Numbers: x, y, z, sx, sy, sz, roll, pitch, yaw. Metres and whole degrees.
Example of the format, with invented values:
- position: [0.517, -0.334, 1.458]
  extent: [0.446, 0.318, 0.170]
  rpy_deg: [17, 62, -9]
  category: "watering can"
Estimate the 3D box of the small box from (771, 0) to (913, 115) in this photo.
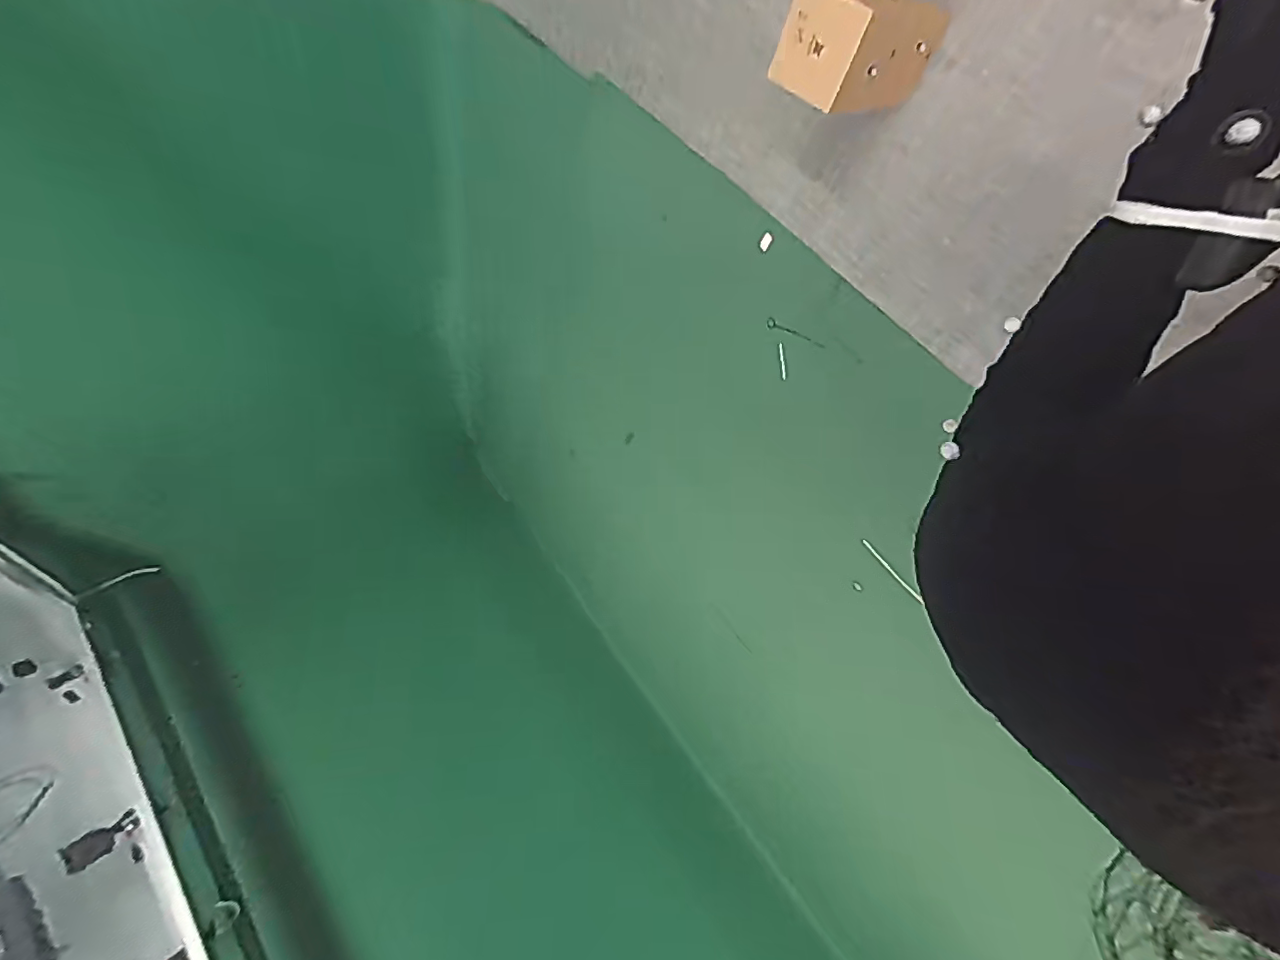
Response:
- position: [0.412, -0.879, 1.103]
  extent: [0.179, 0.176, 0.168]
  rpy_deg: [48, 144, 20]
  category: "small box"

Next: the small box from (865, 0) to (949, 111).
- position: [0.532, -0.949, 1.190]
  extent: [0.179, 0.176, 0.168]
  rpy_deg: [49, 145, 19]
  category: "small box"
